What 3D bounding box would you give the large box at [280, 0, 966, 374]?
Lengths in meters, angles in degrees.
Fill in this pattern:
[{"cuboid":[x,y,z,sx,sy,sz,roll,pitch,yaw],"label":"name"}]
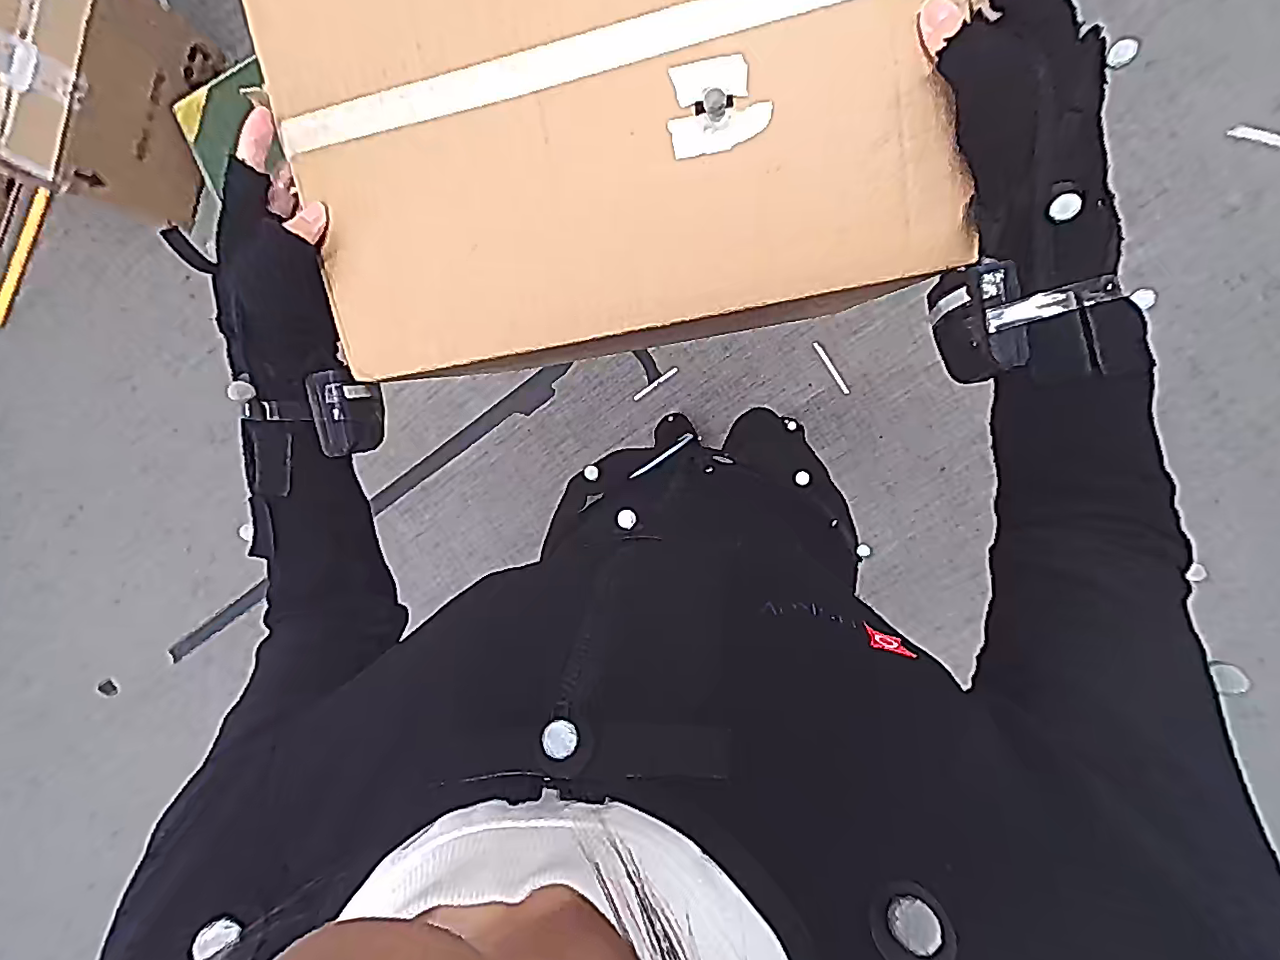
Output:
[{"cuboid":[-0.006,-0.285,0.475,0.408,0.320,0.320,-9,102,8],"label":"large box"}]
